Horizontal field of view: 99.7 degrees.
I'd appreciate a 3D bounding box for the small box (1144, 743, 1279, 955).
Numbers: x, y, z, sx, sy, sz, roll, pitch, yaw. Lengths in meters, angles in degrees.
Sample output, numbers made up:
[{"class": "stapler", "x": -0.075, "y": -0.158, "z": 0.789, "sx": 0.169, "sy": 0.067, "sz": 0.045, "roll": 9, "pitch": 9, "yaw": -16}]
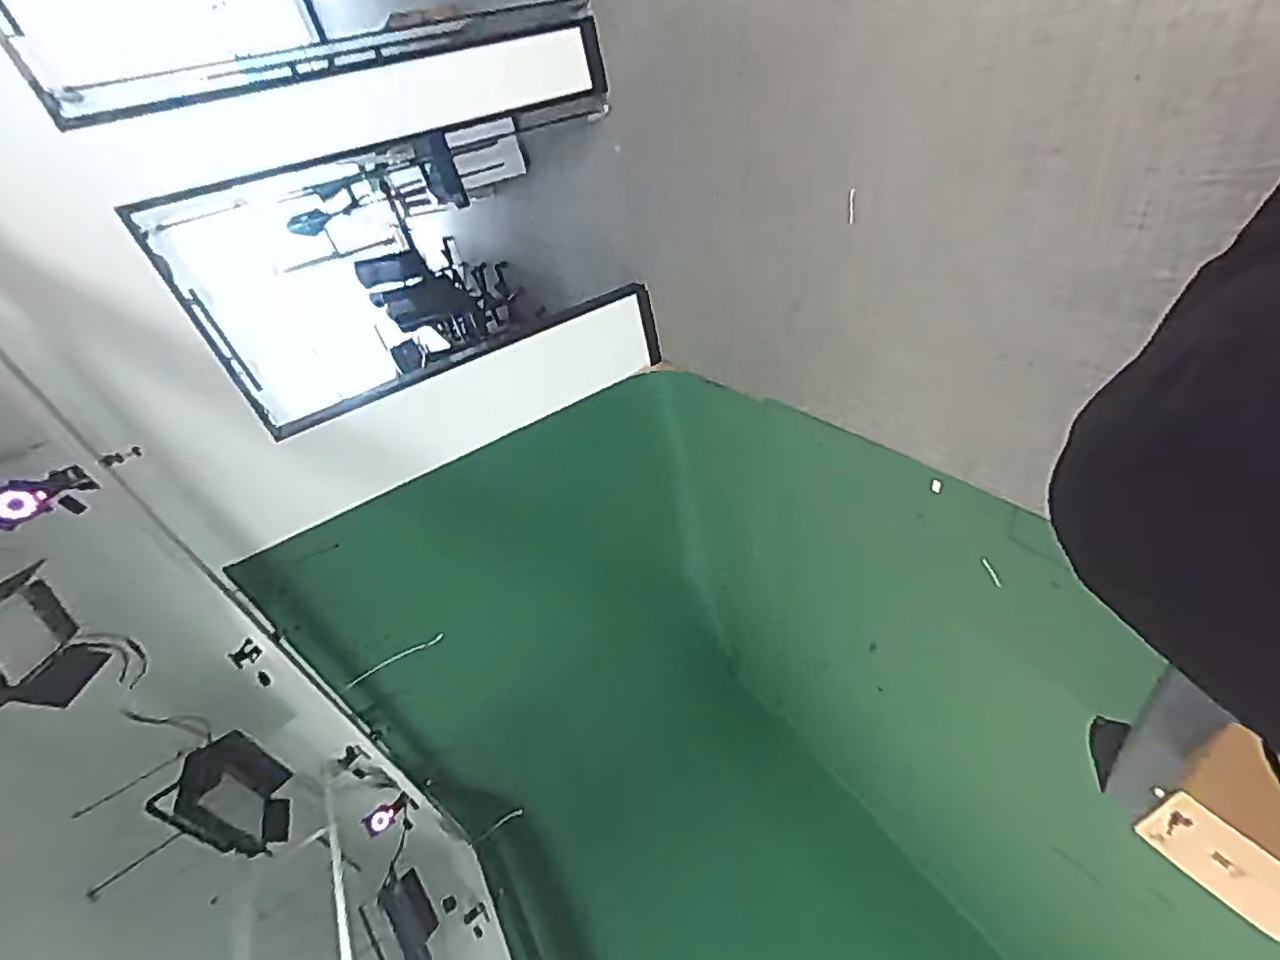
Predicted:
[{"class": "small box", "x": 0.896, "y": 0.522, "z": 0.770, "sx": 0.179, "sy": 0.176, "sz": 0.168, "roll": 40, "pitch": 151, "yaw": 44}]
